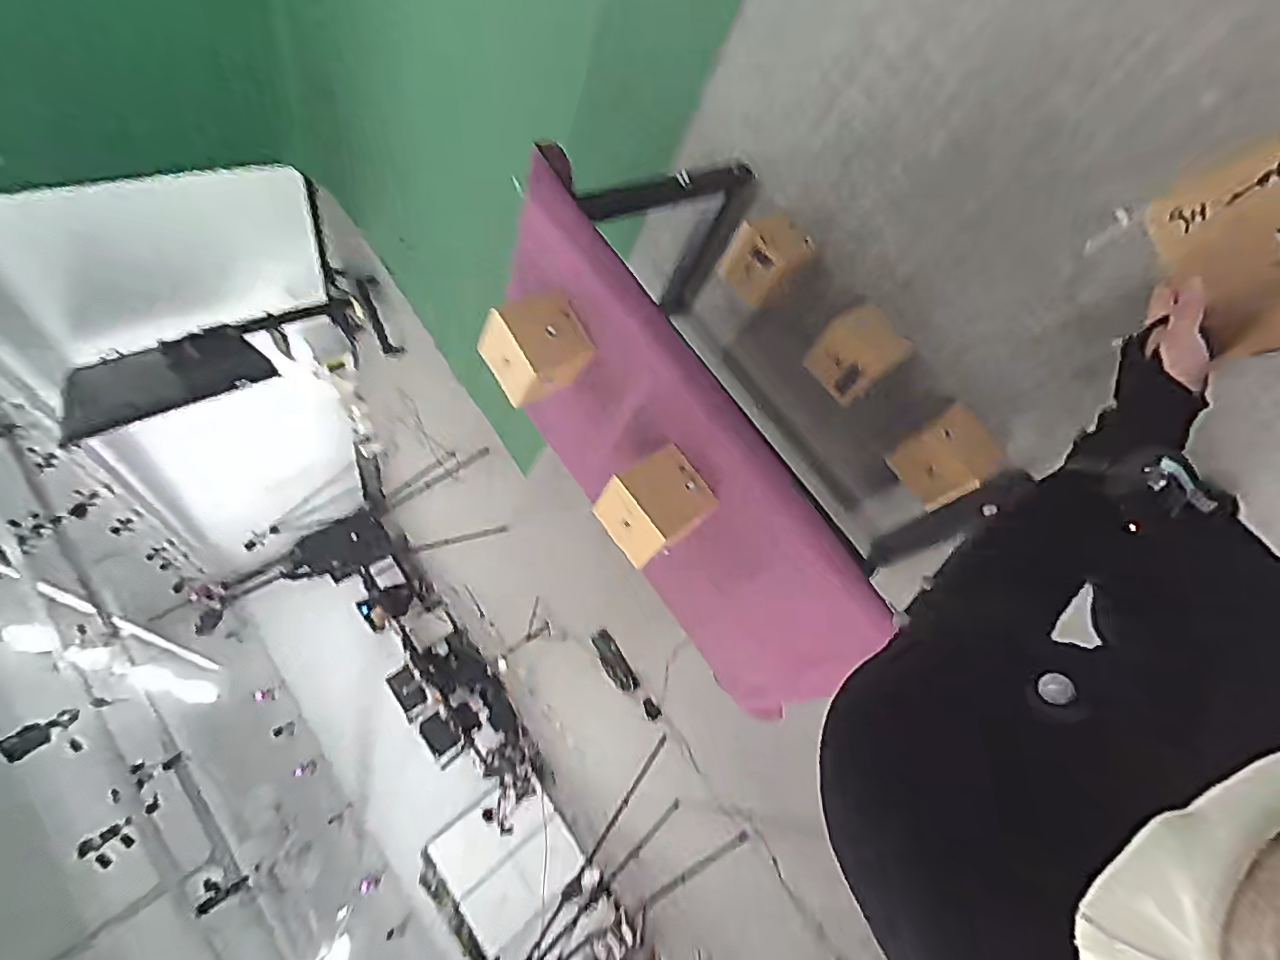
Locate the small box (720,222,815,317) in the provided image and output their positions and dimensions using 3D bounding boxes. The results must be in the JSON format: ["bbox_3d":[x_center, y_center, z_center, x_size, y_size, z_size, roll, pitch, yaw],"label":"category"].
[{"bbox_3d":[0.367,-0.600,1.533,0.168,0.176,0.179,53,148,13],"label":"small box"}]

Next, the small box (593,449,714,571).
[{"bbox_3d":[0.029,0.063,1.159,0.168,0.176,0.179,53,146,11],"label":"small box"}]

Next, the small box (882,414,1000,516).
[{"bbox_3d":[0.781,-0.041,1.400,0.179,0.176,0.168,54,148,11],"label":"small box"}]

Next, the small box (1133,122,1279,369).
[{"bbox_3d":[0.608,-0.235,0.501,0.168,0.176,0.179,-20,102,56],"label":"small box"}]

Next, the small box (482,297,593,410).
[{"bbox_3d":[-0.231,-0.291,1.238,0.168,0.176,0.179,59,148,1],"label":"small box"}]
